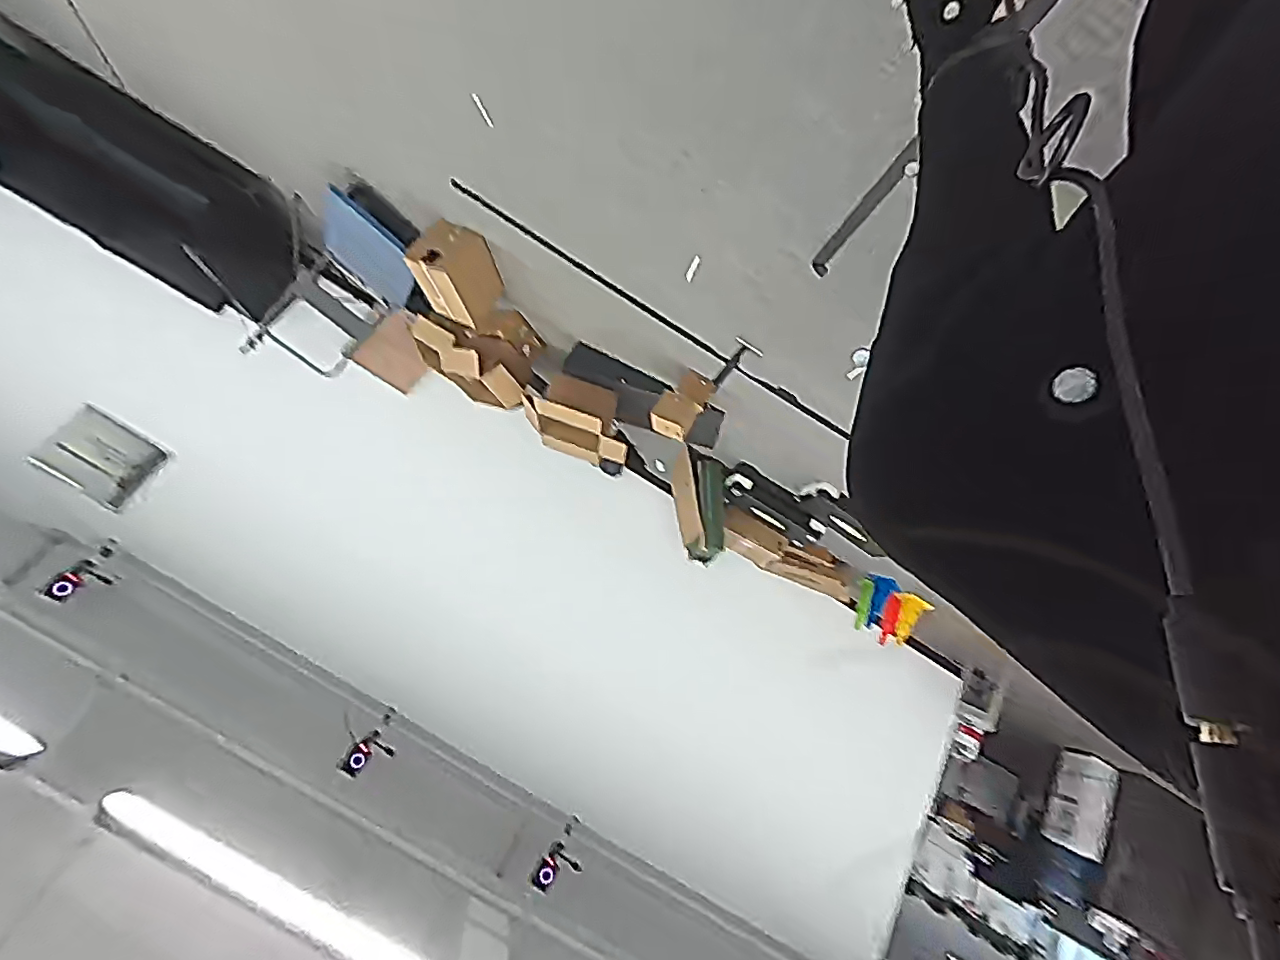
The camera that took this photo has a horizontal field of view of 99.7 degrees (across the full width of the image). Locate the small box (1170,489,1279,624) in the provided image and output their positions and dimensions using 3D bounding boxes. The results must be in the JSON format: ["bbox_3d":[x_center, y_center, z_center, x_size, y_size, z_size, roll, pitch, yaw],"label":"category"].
[{"bbox_3d":[1.080,0.129,0.928,0.179,0.176,0.168,32,162,-4],"label":"small box"}]
